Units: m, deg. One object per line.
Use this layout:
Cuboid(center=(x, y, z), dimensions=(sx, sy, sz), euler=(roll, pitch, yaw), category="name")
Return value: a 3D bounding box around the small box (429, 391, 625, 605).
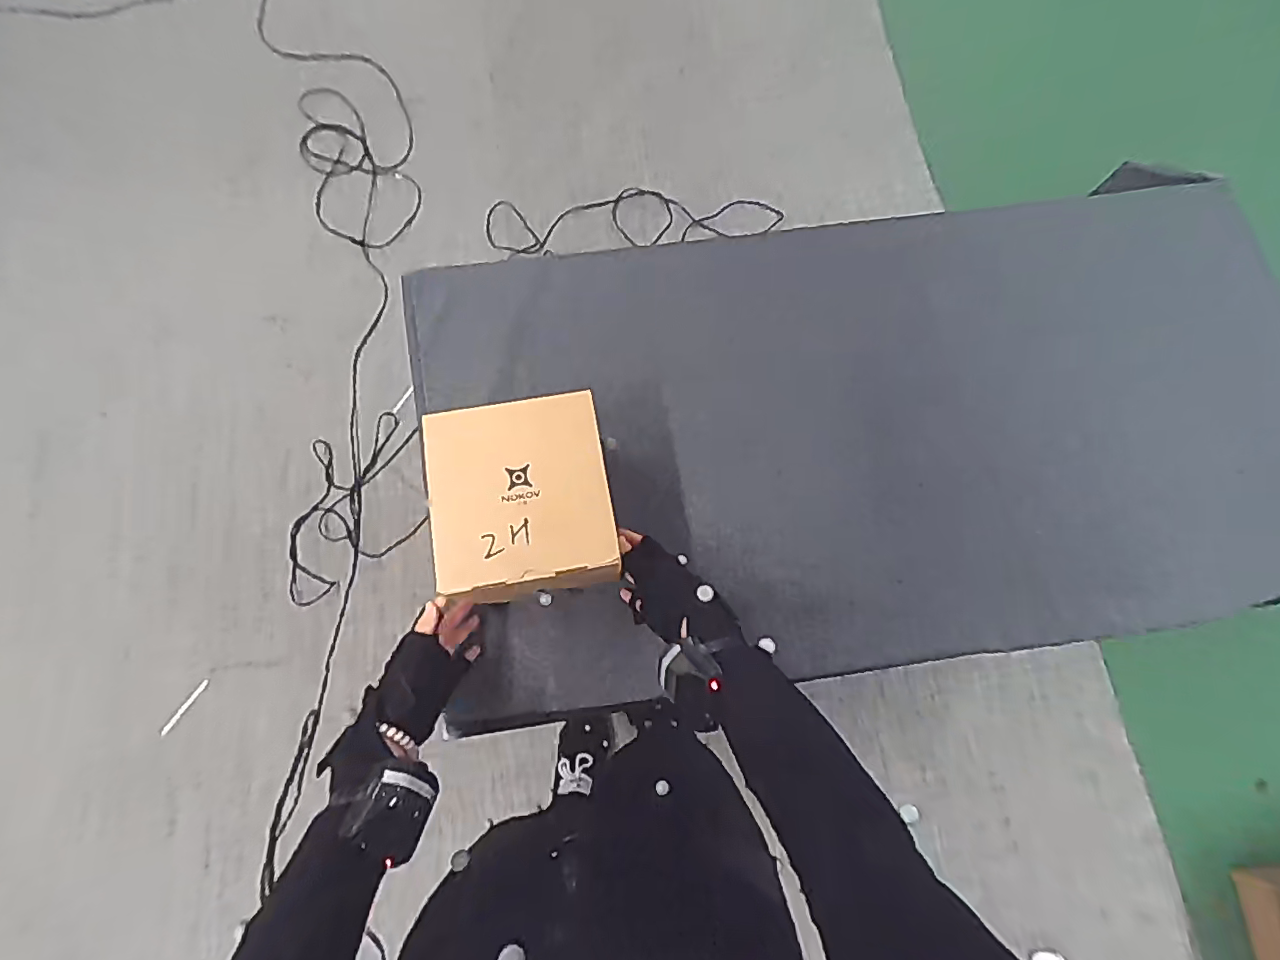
Cuboid(center=(-0.113, 0.028, 0.579), dimensions=(0.168, 0.176, 0.179), euler=(-10, 74, -5), category="small box")
